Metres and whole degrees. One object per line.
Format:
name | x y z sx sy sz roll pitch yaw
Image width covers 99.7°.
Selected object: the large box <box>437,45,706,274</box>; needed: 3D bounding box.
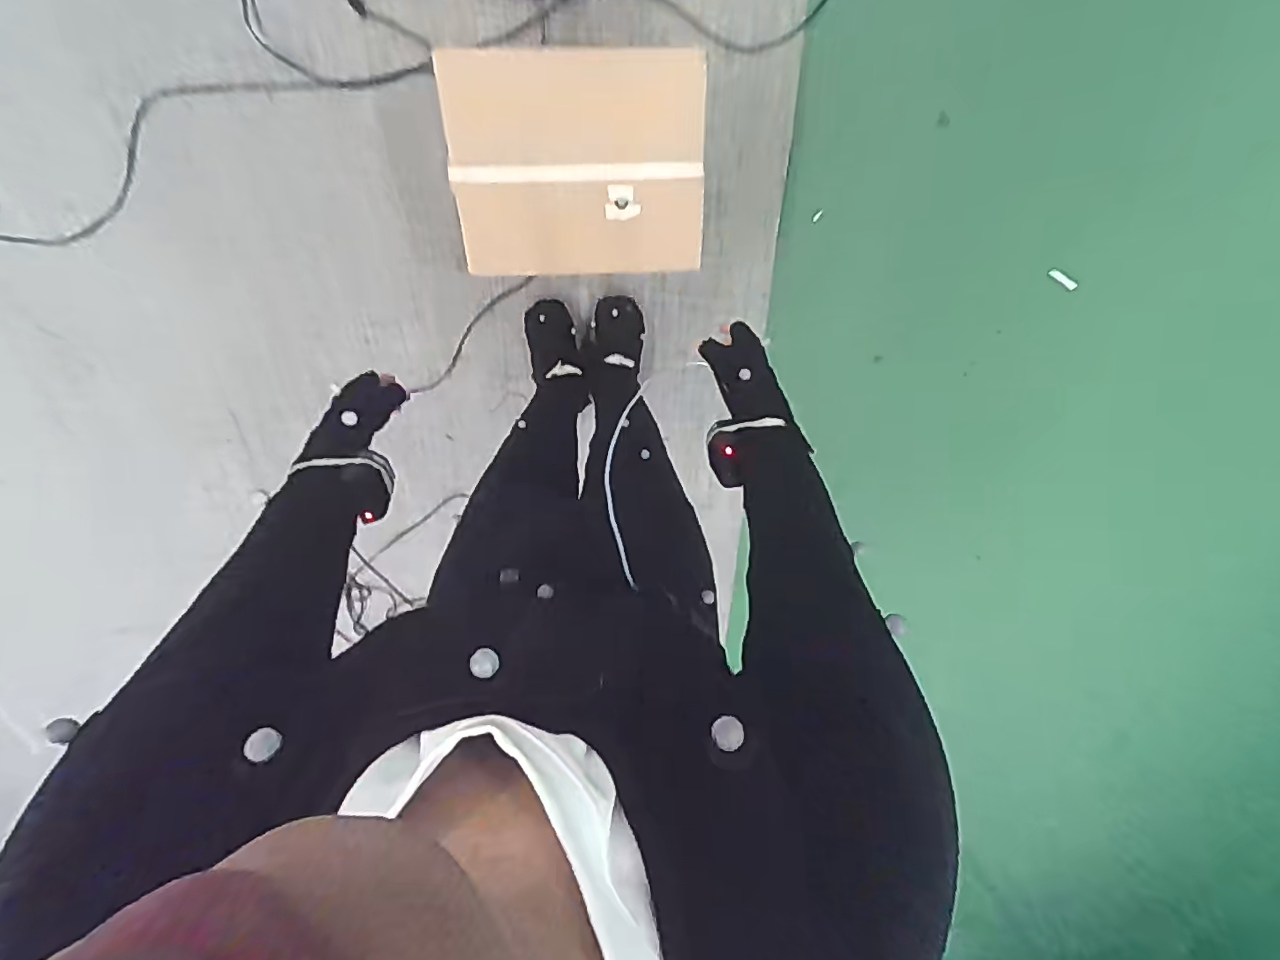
large box | -0.108 -0.576 0.997 0.408 0.320 0.320 -3 121 -3
